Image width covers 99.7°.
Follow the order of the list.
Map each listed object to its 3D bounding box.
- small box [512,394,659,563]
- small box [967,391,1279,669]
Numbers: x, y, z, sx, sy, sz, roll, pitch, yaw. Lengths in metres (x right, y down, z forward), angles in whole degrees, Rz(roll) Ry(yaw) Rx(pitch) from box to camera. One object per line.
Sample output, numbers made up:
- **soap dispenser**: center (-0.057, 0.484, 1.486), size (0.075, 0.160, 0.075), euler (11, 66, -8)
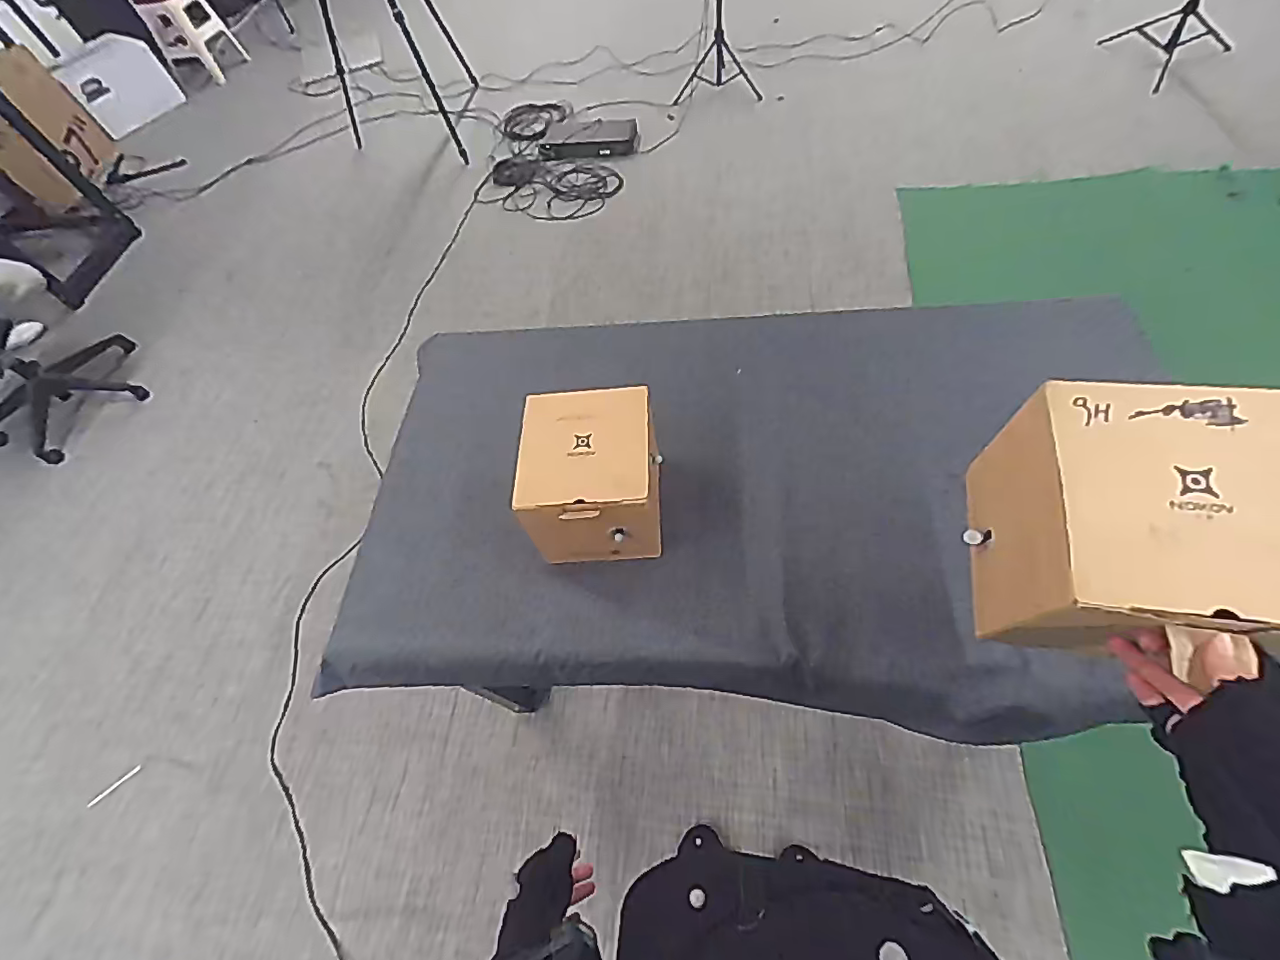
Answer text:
- **small box**: center (-0.063, 0.007, 0.740), size (0.168, 0.176, 0.179), euler (-4, 57, 4)
- **small box**: center (0.387, 0.049, 0.438), size (0.168, 0.176, 0.179), euler (5, 68, 12)
